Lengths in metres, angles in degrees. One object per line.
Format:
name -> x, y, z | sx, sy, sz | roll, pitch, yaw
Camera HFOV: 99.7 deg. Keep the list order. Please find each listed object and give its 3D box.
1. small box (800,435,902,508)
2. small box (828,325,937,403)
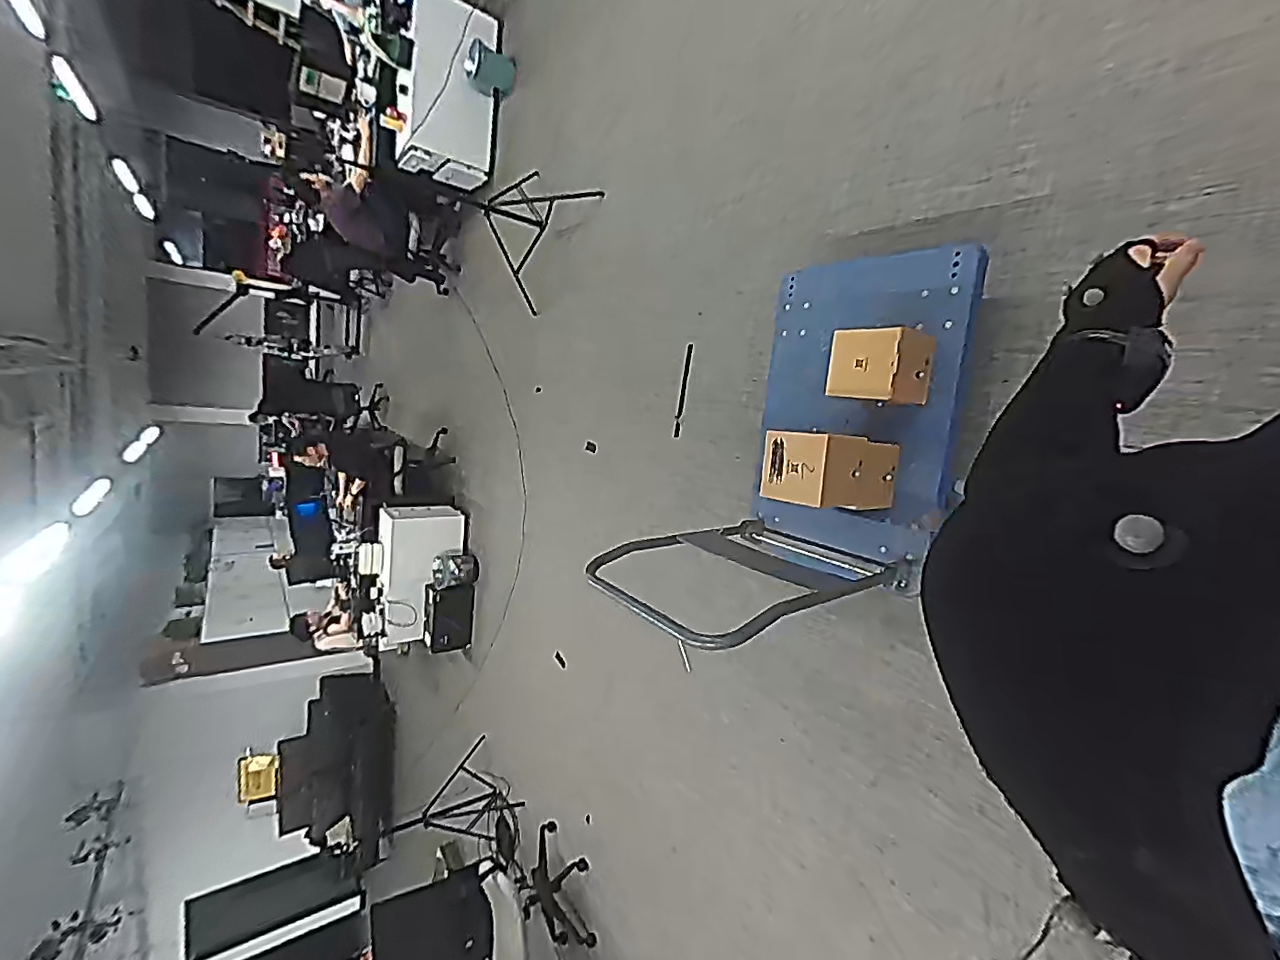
small box -> 0.548, -0.024, 1.408 | 0.179, 0.176, 0.168 | 14, 102, 52
small box -> 0.599, -0.283, 1.339 | 0.179, 0.176, 0.168 | 16, 103, 52
